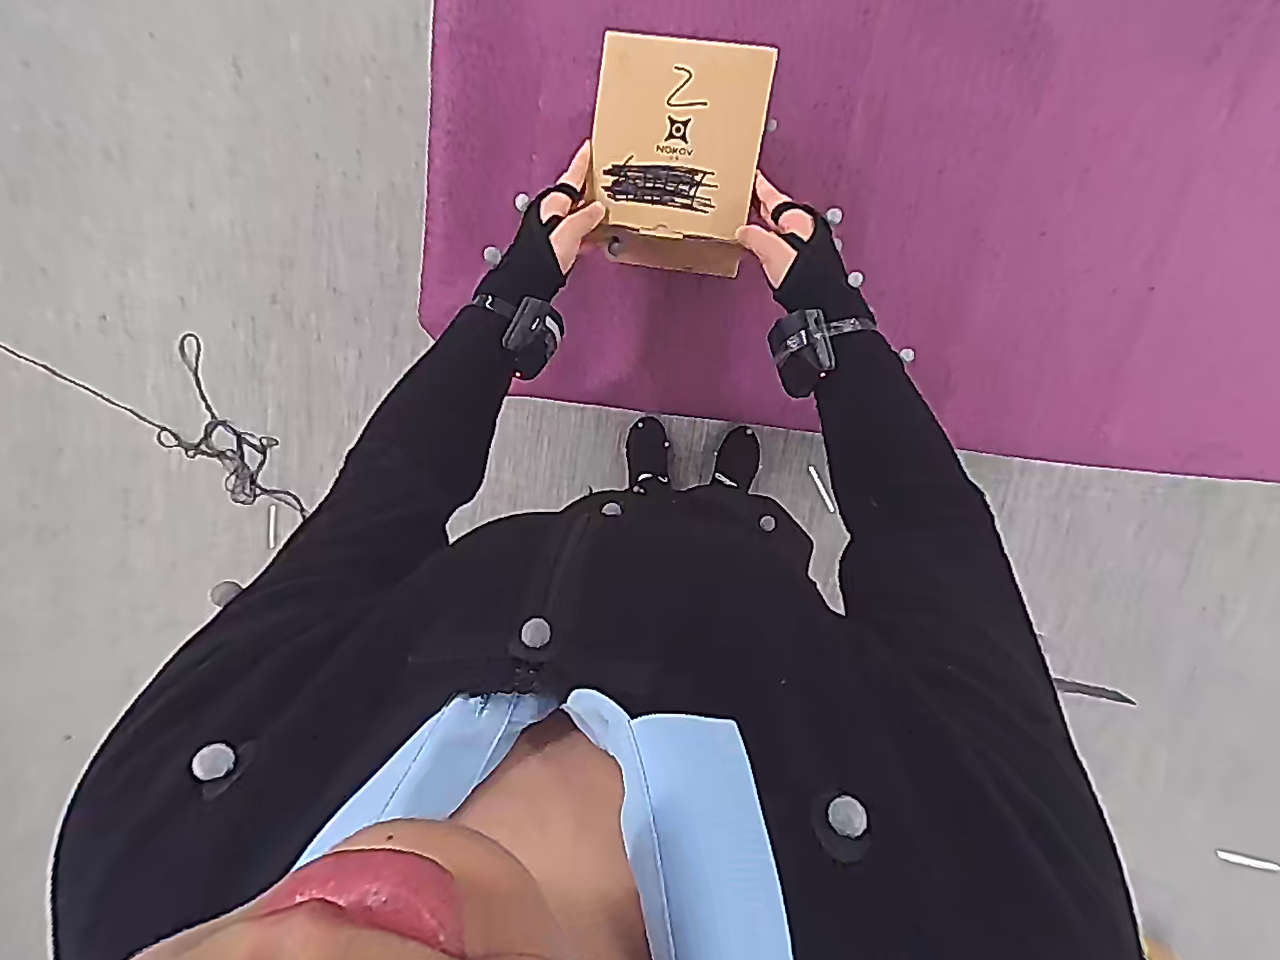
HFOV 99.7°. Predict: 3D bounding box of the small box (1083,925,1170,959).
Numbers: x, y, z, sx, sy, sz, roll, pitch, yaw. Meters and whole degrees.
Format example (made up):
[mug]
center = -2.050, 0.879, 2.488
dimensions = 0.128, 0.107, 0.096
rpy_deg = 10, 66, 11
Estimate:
[small box]
center = 1.385, 1.390, 1.484
dimensions = 0.168, 0.176, 0.179
rpy_deg = 34, 102, 0
